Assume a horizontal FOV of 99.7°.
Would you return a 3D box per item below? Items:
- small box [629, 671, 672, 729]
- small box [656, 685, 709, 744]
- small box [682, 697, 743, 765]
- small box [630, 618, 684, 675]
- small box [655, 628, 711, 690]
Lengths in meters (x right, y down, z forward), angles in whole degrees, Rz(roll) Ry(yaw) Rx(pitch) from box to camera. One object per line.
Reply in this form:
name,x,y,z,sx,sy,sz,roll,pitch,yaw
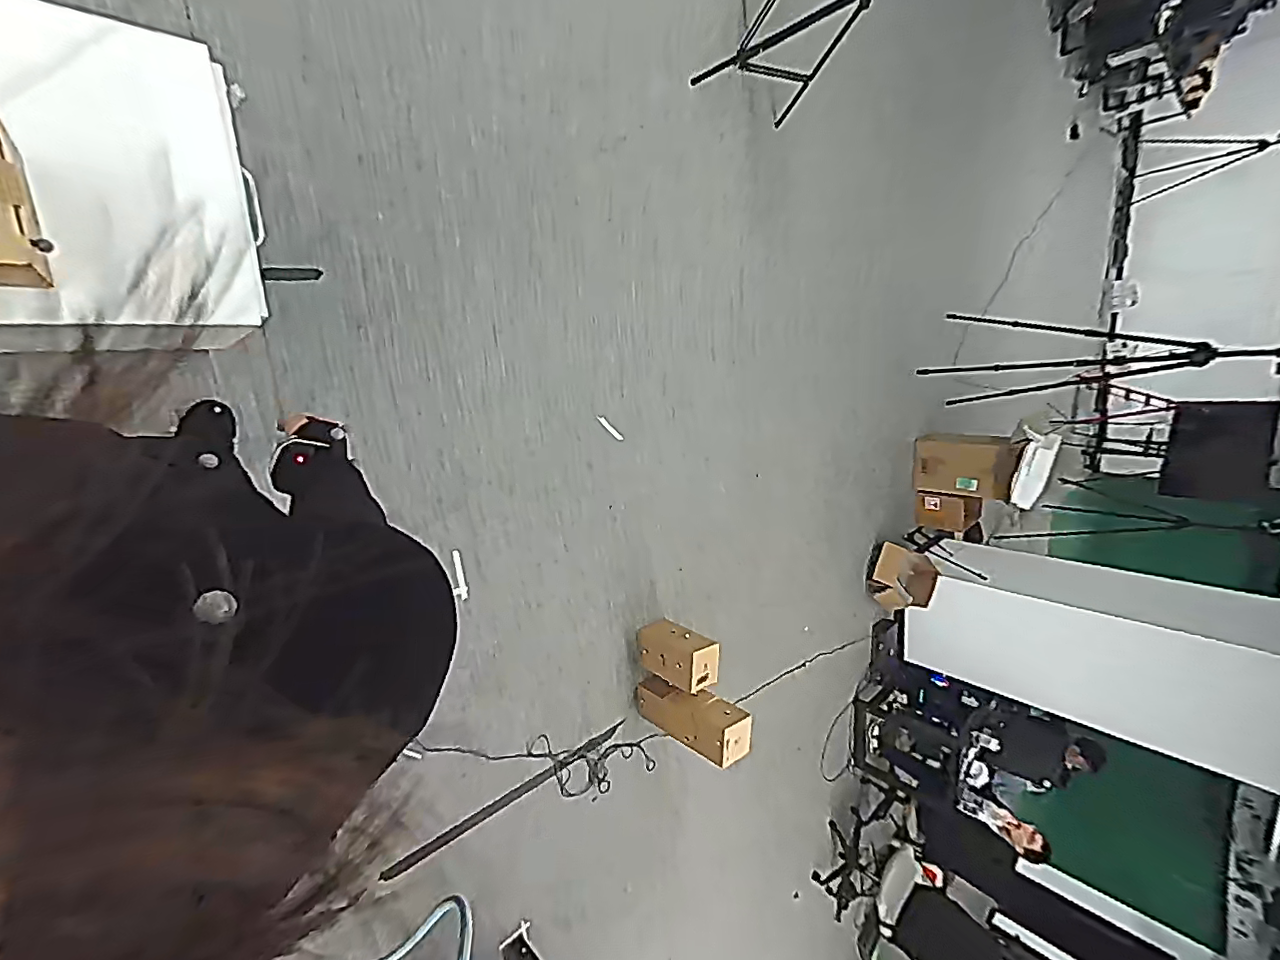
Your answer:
small box,0.071,0.972,2.431,0.179,0.176,0.168,-15,106,-41
small box,0.182,0.992,2.314,0.168,0.176,0.179,-13,106,-42
small box,0.293,1.009,2.194,0.179,0.176,0.168,-4,99,-44
small box,0.074,0.728,2.390,0.179,0.176,0.168,-9,103,-42
small box,0.175,0.744,2.260,0.168,0.176,0.179,-4,99,-43
